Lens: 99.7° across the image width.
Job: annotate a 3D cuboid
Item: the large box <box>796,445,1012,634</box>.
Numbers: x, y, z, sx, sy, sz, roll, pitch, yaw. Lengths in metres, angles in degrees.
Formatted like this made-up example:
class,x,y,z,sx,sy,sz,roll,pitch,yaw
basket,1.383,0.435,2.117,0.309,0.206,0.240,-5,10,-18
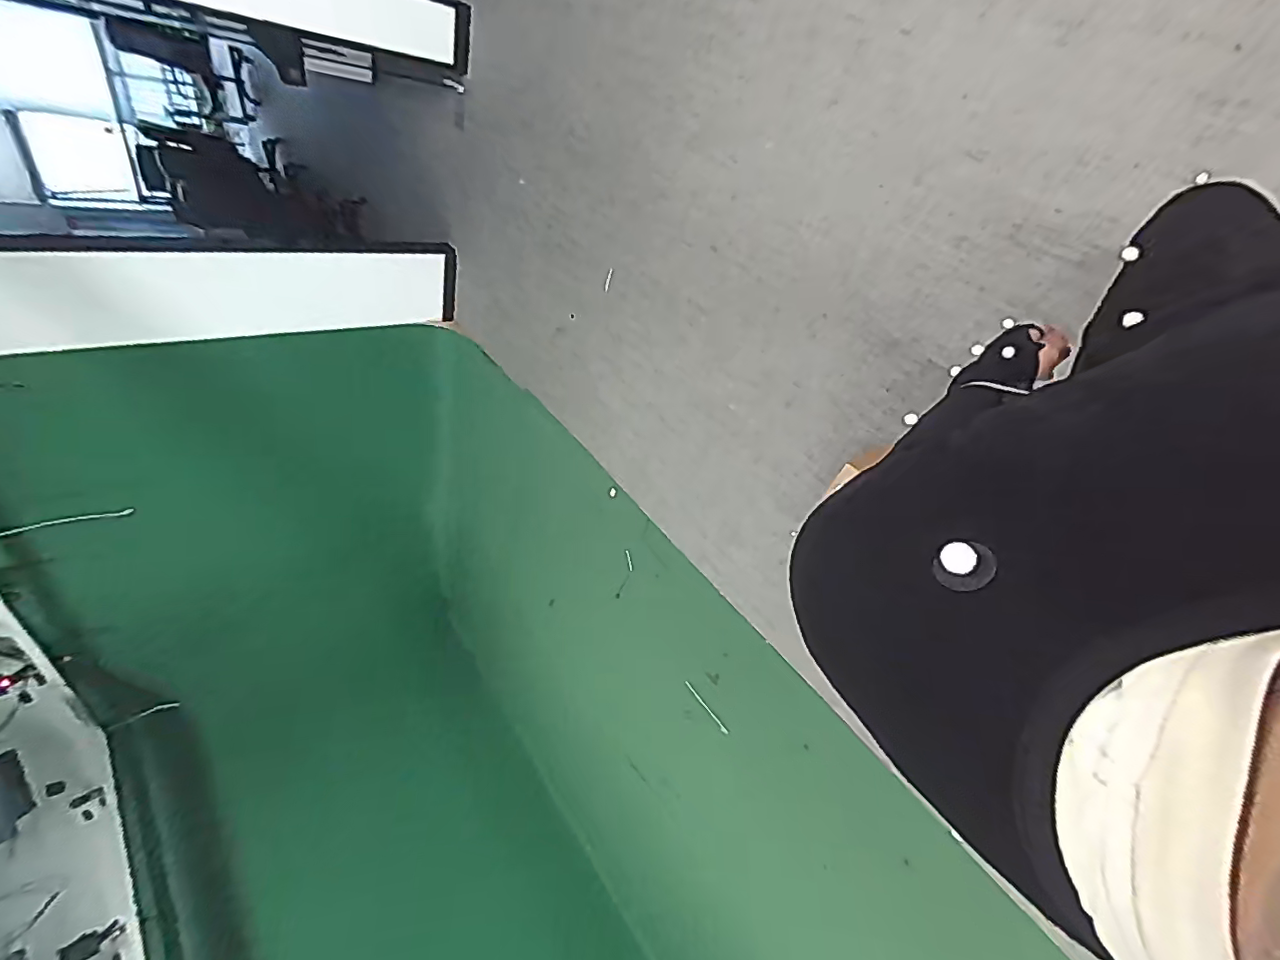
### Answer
class,x,y,z,sx,sy,sz,roll,pitch,yaw
large box,0.754,0.157,1.573,0.408,0.320,0.320,48,135,28
